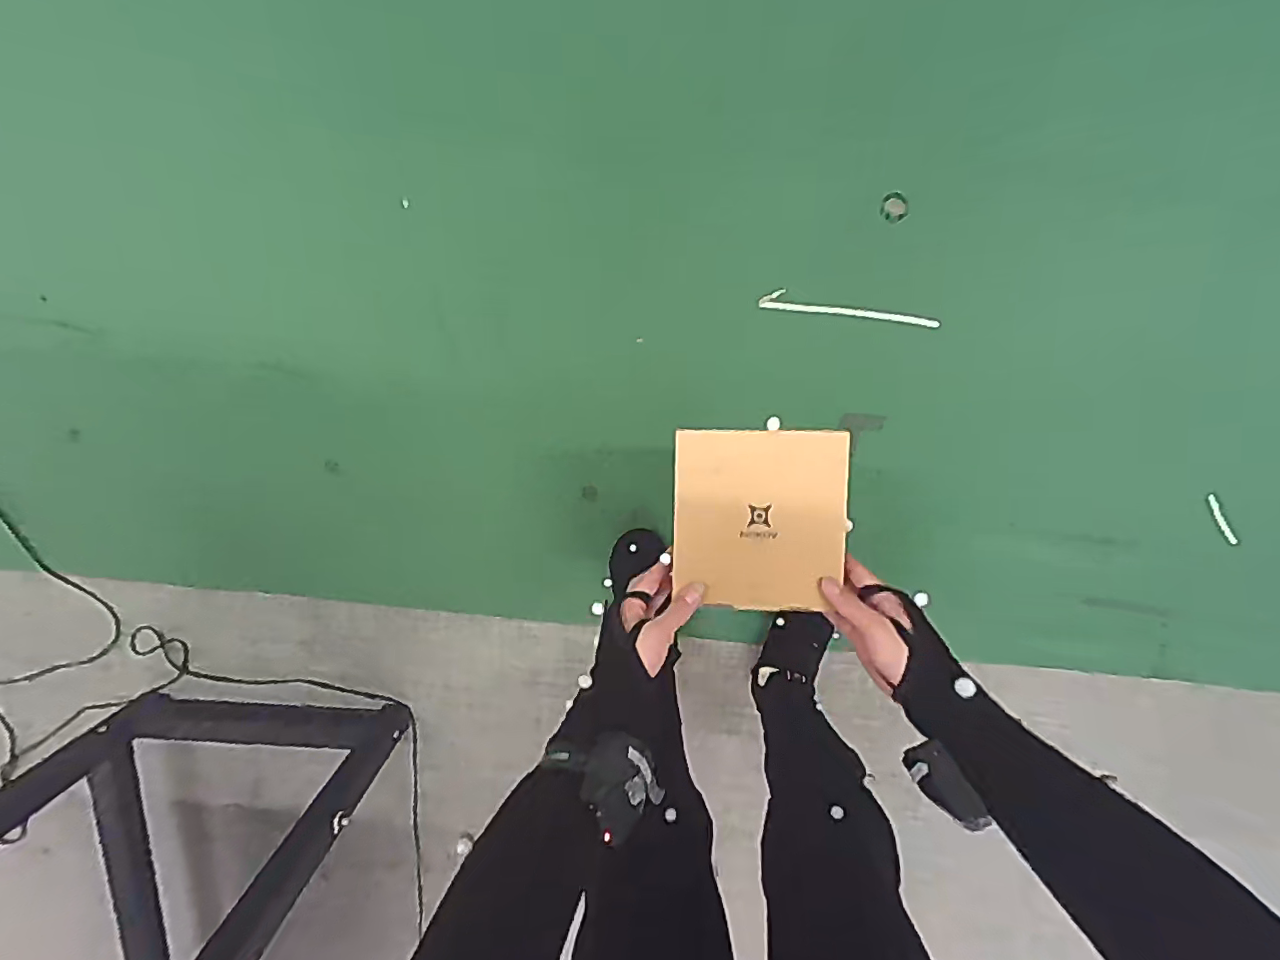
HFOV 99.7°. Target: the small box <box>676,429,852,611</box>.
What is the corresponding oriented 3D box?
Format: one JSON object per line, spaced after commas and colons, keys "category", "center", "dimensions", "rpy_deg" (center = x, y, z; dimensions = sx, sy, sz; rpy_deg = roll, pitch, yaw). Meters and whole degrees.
{"category": "small box", "center": [0.125, 0.033, 0.602], "dimensions": [0.168, 0.176, 0.179], "rpy_deg": [0, 95, 5]}
